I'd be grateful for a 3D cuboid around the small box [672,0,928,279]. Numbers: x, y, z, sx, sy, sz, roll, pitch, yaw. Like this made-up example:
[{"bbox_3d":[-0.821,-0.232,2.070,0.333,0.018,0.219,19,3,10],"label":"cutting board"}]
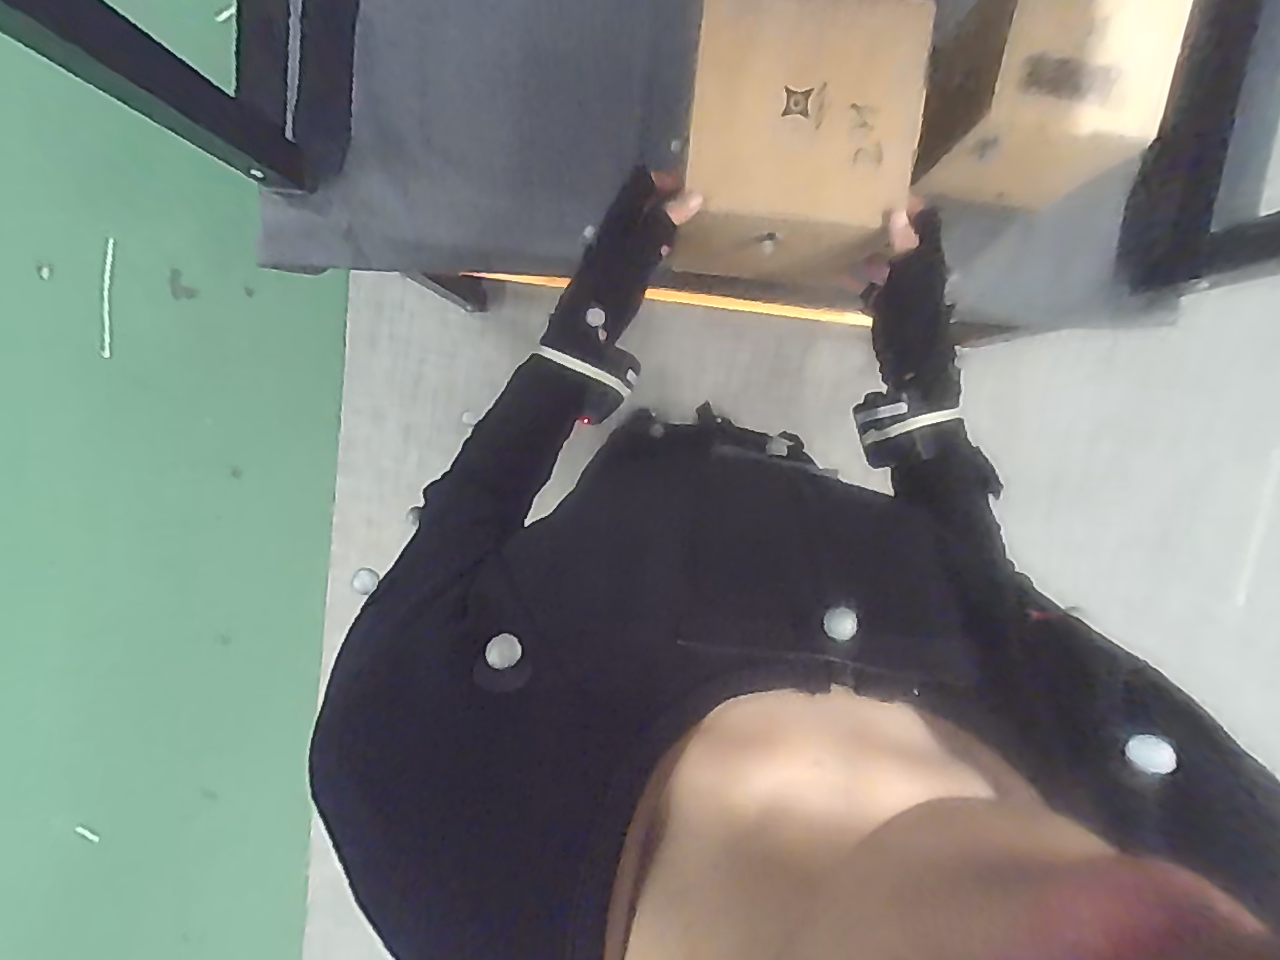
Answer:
[{"bbox_3d":[0.125,-0.294,0.494,0.179,0.176,0.168,6,96,1],"label":"small box"}]
